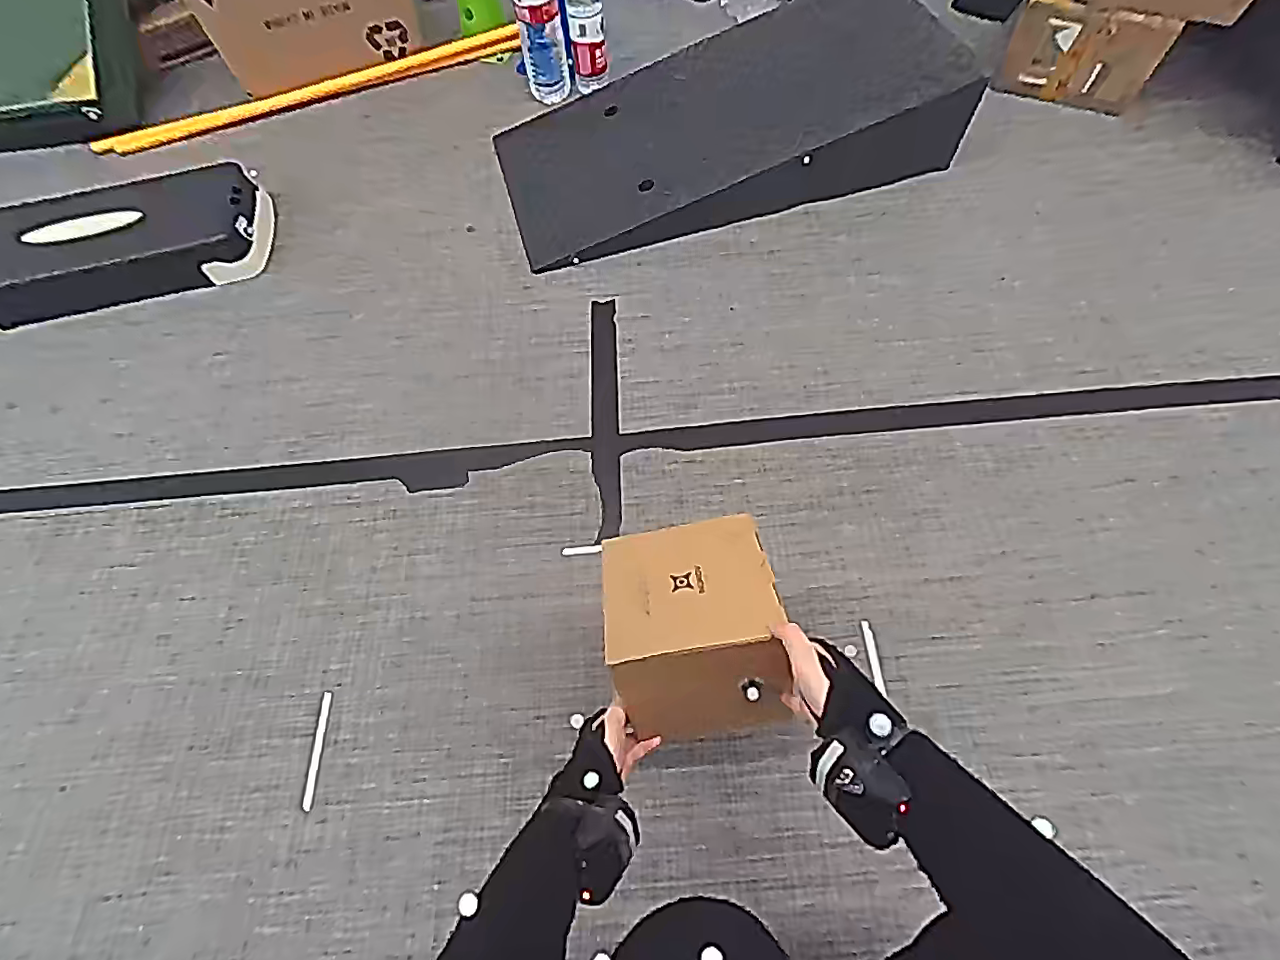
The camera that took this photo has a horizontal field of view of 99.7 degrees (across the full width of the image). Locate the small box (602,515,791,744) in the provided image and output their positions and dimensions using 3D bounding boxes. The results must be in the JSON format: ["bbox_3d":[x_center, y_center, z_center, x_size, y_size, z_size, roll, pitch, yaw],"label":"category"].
[{"bbox_3d":[0.060,0.167,0.601,0.179,0.176,0.168,-11,38,4],"label":"small box"}]
